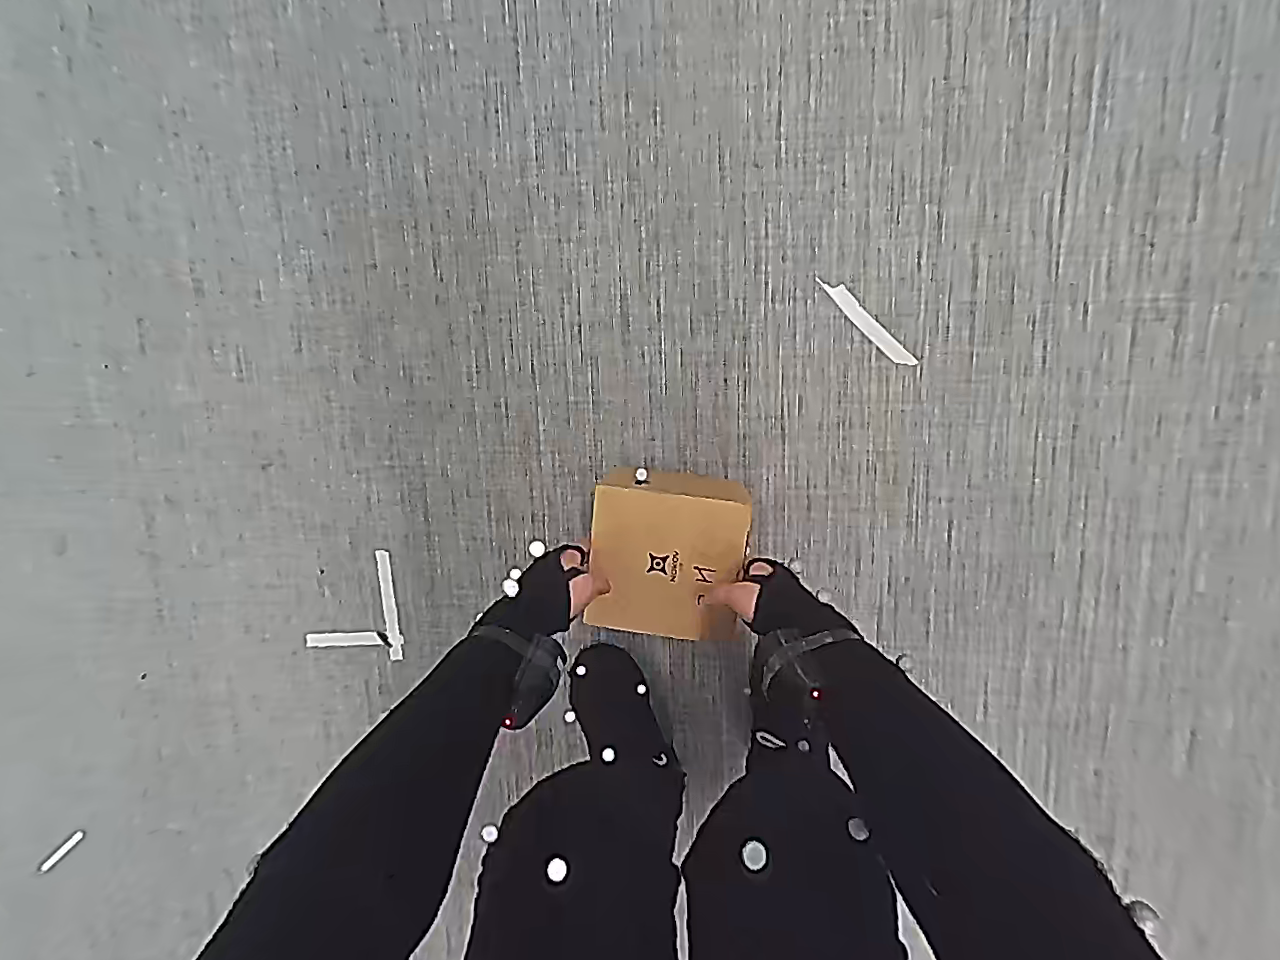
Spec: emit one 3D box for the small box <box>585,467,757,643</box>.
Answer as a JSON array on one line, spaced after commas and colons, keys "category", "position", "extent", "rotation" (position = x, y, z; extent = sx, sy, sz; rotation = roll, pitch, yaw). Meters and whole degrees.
[{"category": "small box", "position": [0.039, 0.081, 0.678], "extent": [0.179, 0.176, 0.168], "rotation": [7, 99, 4]}]
